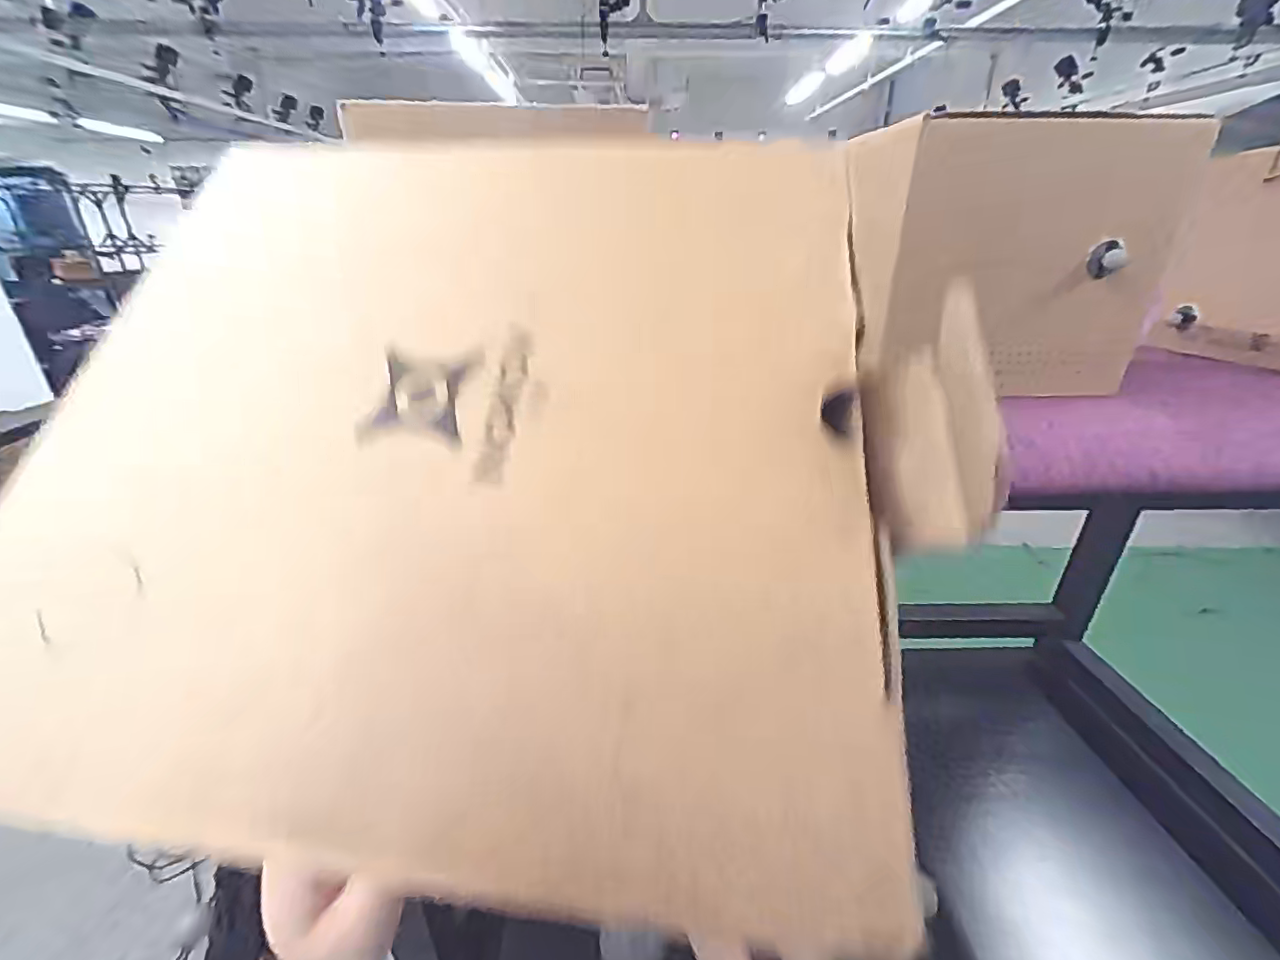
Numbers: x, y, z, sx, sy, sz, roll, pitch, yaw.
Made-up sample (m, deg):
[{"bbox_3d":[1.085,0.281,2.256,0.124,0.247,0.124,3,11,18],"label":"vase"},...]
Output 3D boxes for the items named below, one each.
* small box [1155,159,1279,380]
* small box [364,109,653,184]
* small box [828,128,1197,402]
[{"bbox_3d":[0.593,-0.176,0.452,0.179,0.176,0.168,1,22,0],"label":"small box"},{"bbox_3d":[-0.076,-0.163,0.408,0.168,0.176,0.179,1,25,-3],"label":"small box"},{"bbox_3d":[0.245,-0.163,0.424,0.179,0.176,0.168,-1,24,-2],"label":"small box"}]
